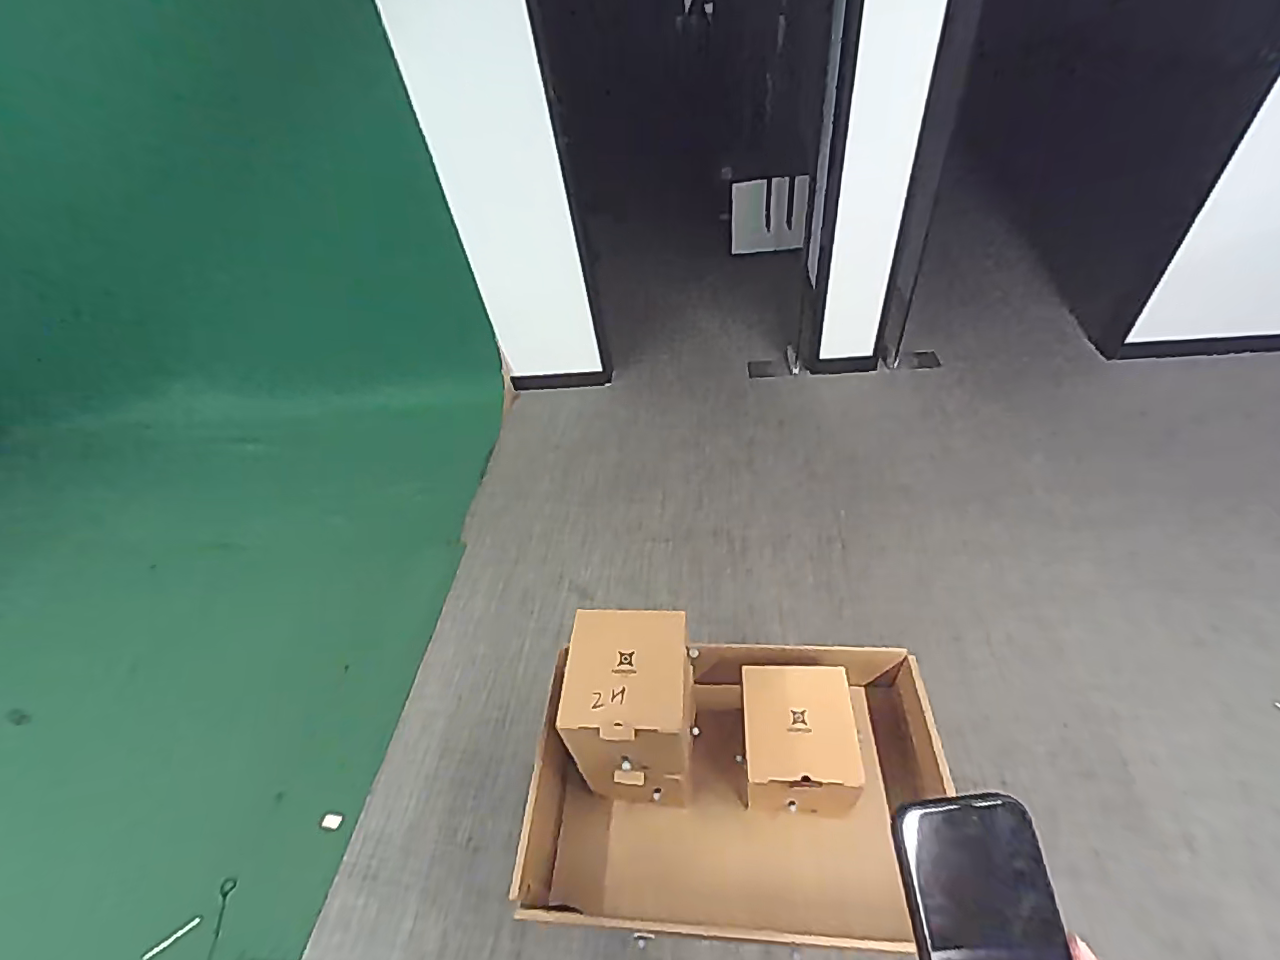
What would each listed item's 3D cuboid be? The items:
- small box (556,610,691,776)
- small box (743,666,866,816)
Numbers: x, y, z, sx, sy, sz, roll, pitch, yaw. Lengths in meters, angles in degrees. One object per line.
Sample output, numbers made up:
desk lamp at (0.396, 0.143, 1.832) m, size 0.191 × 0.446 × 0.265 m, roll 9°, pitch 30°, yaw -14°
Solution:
small box at (-0.012, 0.313, 0.800) m, size 0.168 × 0.176 × 0.179 m, roll -2°, pitch 46°, yaw 9°
small box at (0.254, 0.422, 0.878) m, size 0.168 × 0.176 × 0.179 m, roll -3°, pitch 47°, yaw 9°
